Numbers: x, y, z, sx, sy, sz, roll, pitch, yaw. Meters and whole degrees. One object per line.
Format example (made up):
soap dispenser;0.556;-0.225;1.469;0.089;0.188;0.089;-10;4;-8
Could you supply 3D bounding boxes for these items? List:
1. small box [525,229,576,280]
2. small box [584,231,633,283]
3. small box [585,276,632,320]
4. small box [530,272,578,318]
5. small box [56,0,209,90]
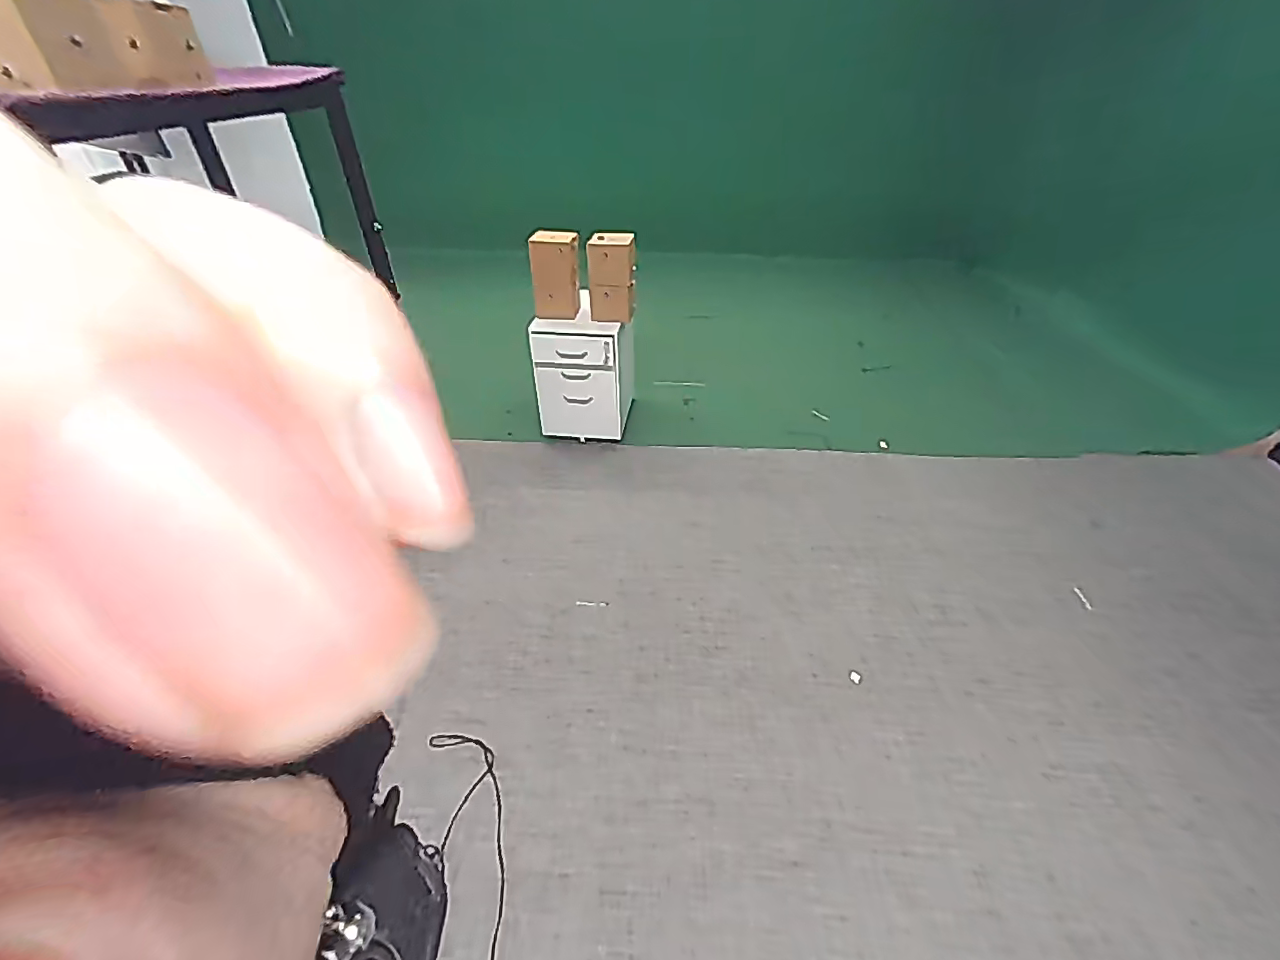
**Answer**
small box;-0.380;-0.969;2.325;0.179;0.176;0.168;6;38;4
small box;-0.130;-0.943;2.287;0.179;0.176;0.168;5;39;7
small box;-0.134;-0.818;2.393;0.179;0.176;0.168;5;39;8
small box;-0.382;-0.839;2.426;0.179;0.176;0.168;4;39;4
small box;-1.198;-1.045;1.295;0.179;0.176;0.168;2;37;4
